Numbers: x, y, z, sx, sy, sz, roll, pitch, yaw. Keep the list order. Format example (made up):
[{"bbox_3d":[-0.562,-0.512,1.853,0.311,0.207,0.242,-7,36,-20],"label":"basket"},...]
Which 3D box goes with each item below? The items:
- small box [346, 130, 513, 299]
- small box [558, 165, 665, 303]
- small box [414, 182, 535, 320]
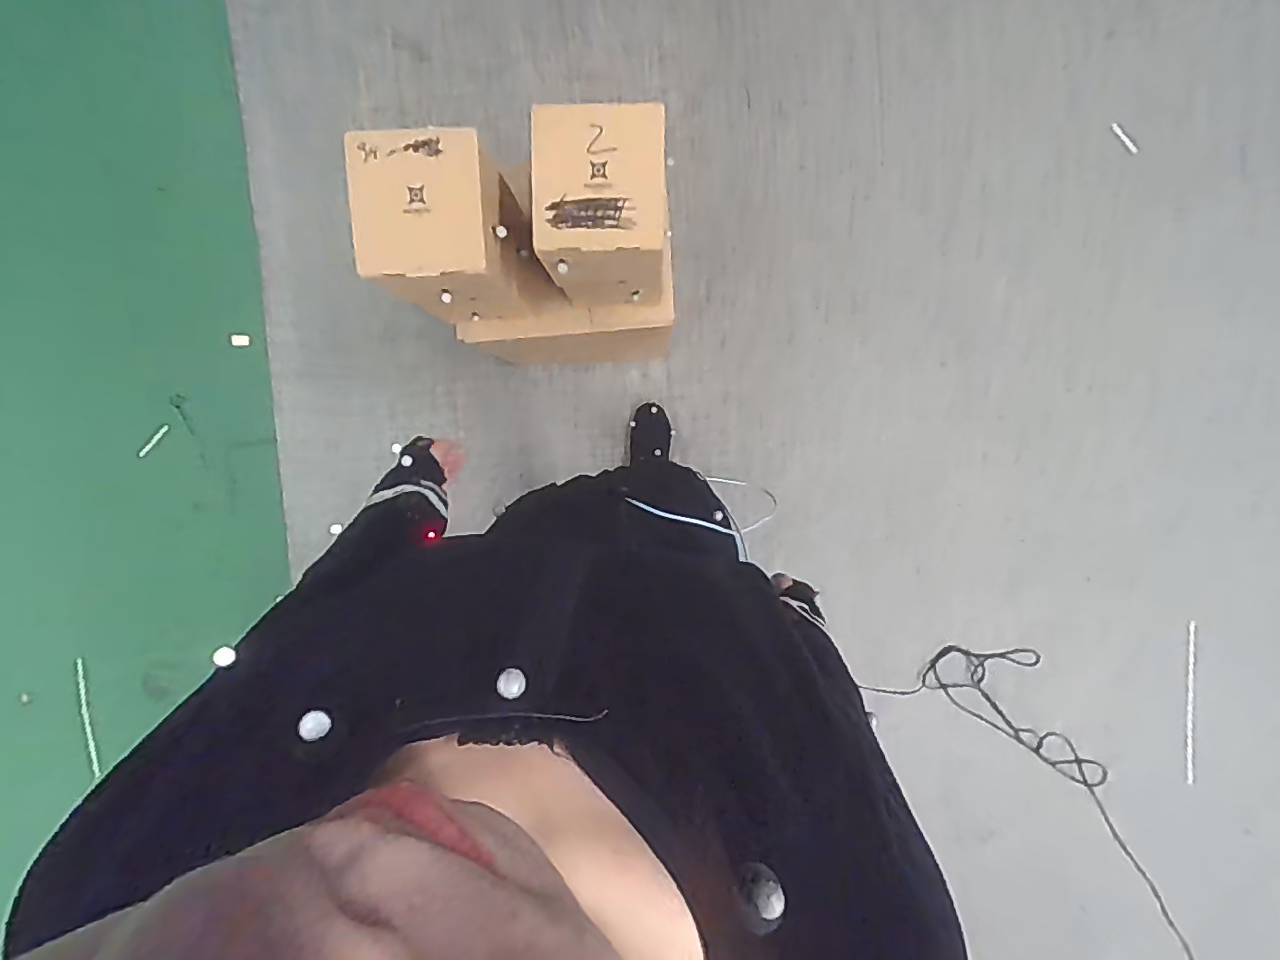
[{"bbox_3d":[-0.278,-0.354,0.754,0.168,0.176,0.179,-1,98,0],"label":"small box"},{"bbox_3d":[-0.042,-0.402,0.910,0.168,0.176,0.179,0,95,1],"label":"small box"},{"bbox_3d":[-0.278,-0.377,0.917,0.168,0.176,0.179,-3,97,0],"label":"small box"}]
